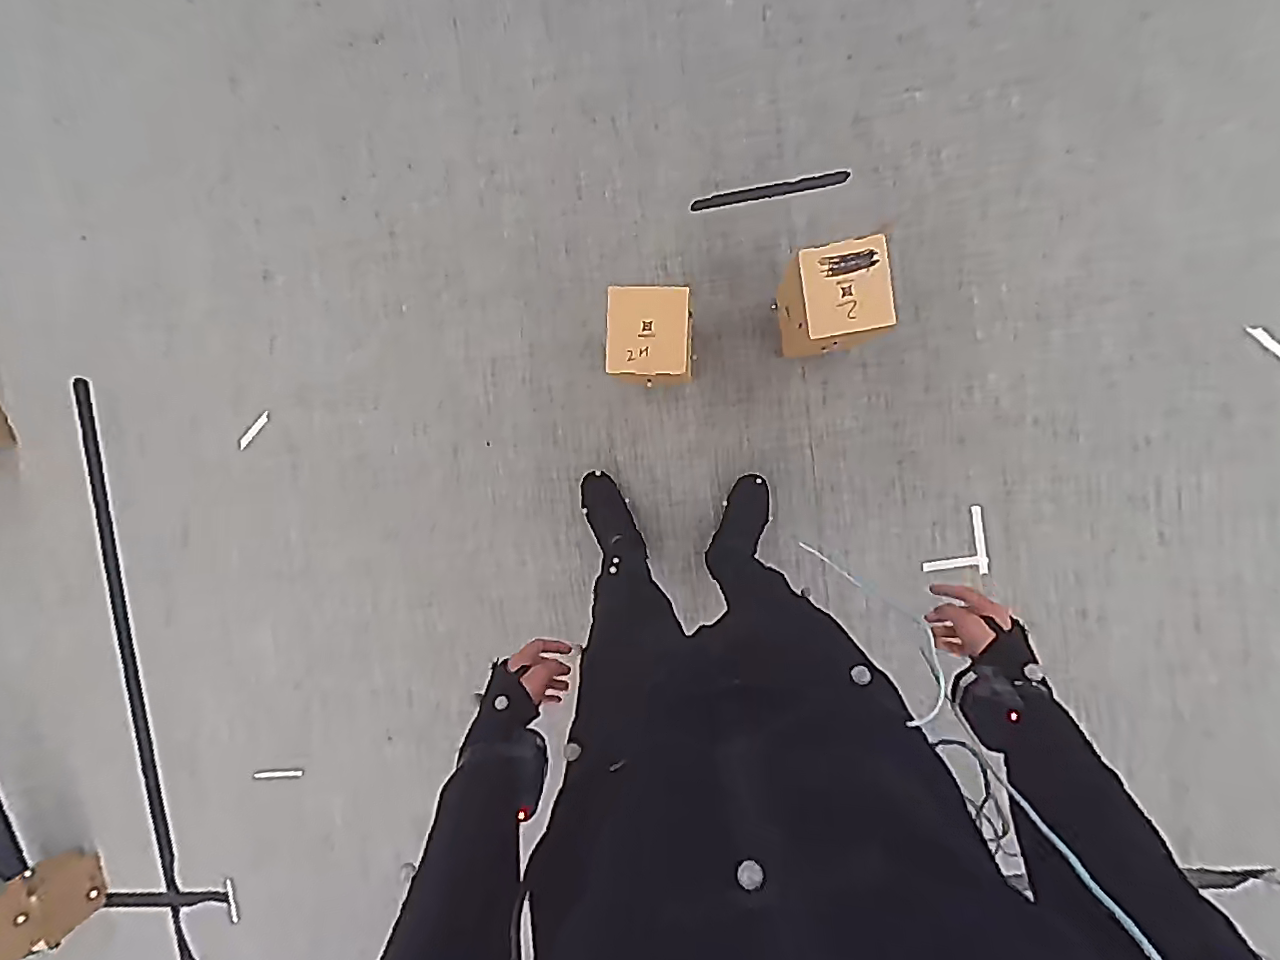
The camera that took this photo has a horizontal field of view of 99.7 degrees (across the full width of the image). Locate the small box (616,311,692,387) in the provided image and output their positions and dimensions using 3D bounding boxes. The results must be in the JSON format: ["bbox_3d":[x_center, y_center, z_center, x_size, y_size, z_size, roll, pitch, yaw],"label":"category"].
[{"bbox_3d":[0.039,-0.319,1.332,0.179,0.176,0.168,1,95,7],"label":"small box"}]

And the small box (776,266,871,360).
[{"bbox_3d":[0.426,-0.388,1.286,0.179,0.176,0.168,-8,94,5],"label":"small box"}]

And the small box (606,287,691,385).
[{"bbox_3d":[0.023,-0.304,1.169,0.168,0.176,0.179,3,95,7],"label":"small box"}]
